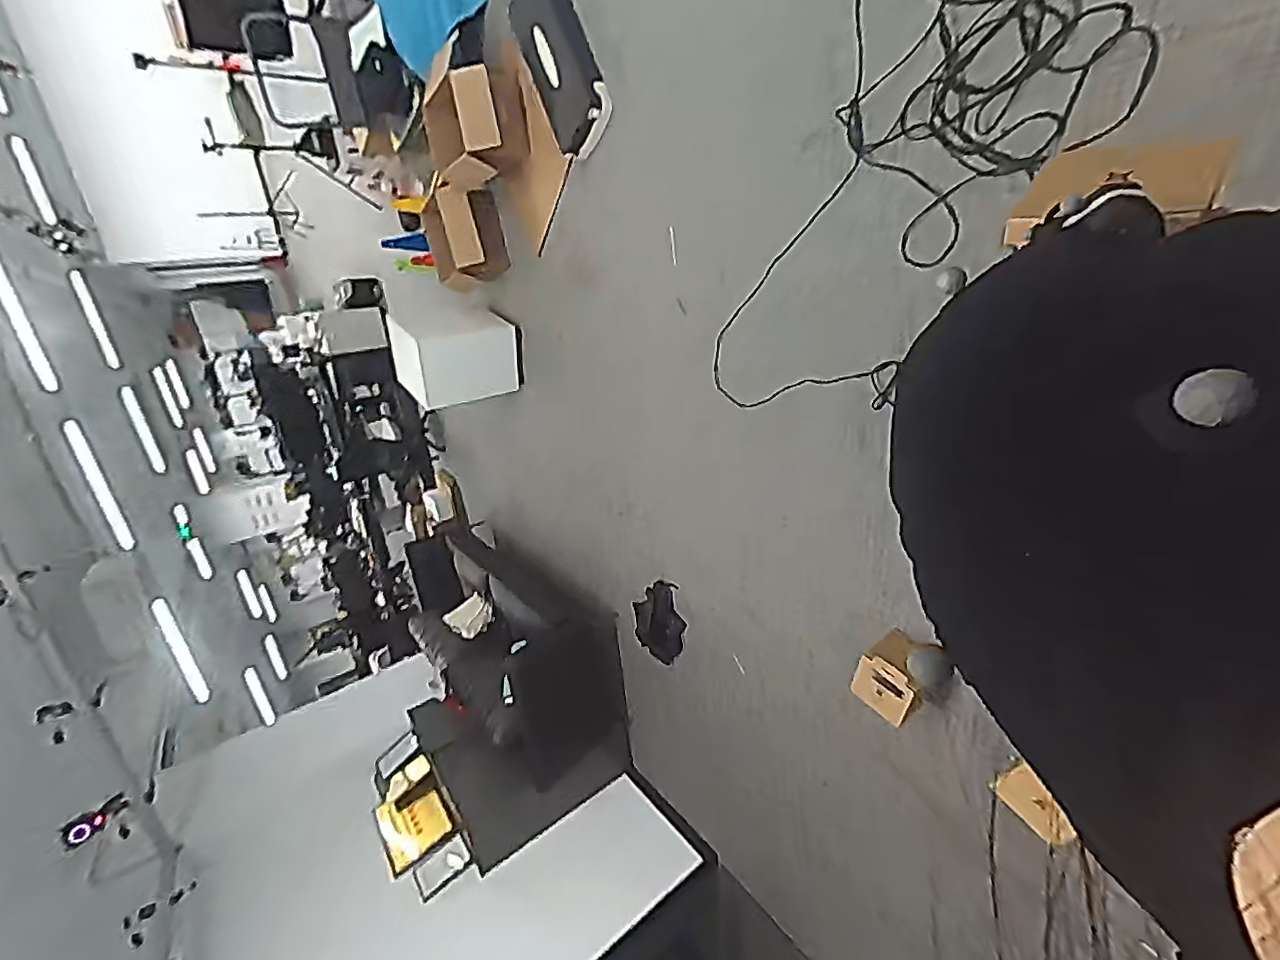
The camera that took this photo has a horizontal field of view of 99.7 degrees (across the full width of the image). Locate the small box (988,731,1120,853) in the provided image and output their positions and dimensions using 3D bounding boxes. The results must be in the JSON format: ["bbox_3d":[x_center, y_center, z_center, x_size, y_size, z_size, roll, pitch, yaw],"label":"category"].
[{"bbox_3d":[1.006,0.753,1.313,0.168,0.176,0.179,46,140,33],"label":"small box"}]

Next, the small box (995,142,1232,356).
[{"bbox_3d":[0.544,-0.268,0.643,0.168,0.179,0.176,21,147,40],"label":"small box"}]
